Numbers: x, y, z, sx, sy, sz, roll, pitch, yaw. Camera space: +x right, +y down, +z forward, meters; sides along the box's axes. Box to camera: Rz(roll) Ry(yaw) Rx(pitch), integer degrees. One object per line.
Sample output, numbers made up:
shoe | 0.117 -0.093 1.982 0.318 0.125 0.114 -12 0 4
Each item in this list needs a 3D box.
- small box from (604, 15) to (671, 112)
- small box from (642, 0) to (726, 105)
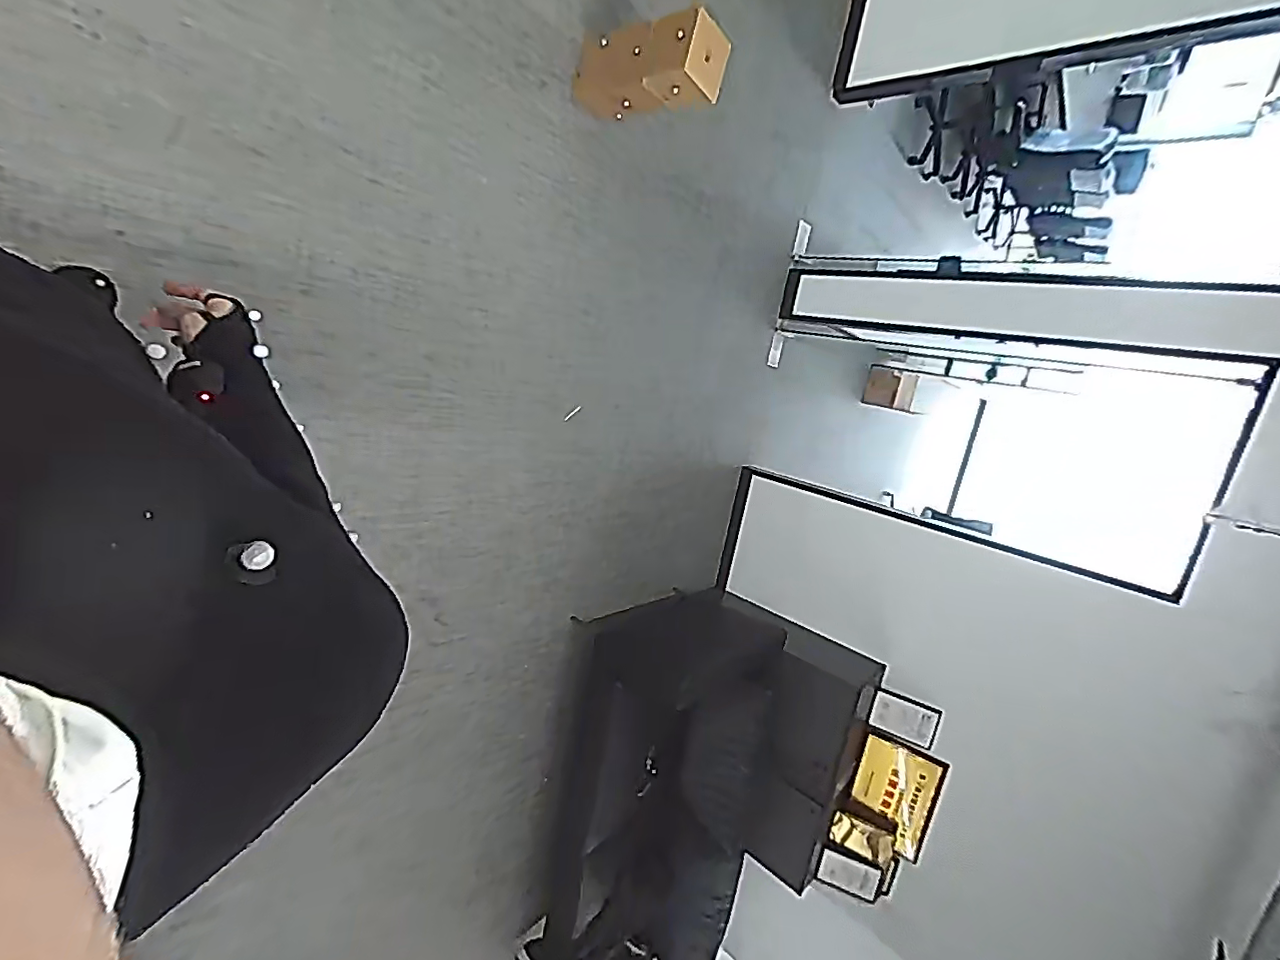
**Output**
small box | 0.006 -1.309 1.713 0.168 0.176 0.179 -1 107 -50
small box | 0.126 -1.262 1.616 0.168 0.176 0.179 6 101 -50
